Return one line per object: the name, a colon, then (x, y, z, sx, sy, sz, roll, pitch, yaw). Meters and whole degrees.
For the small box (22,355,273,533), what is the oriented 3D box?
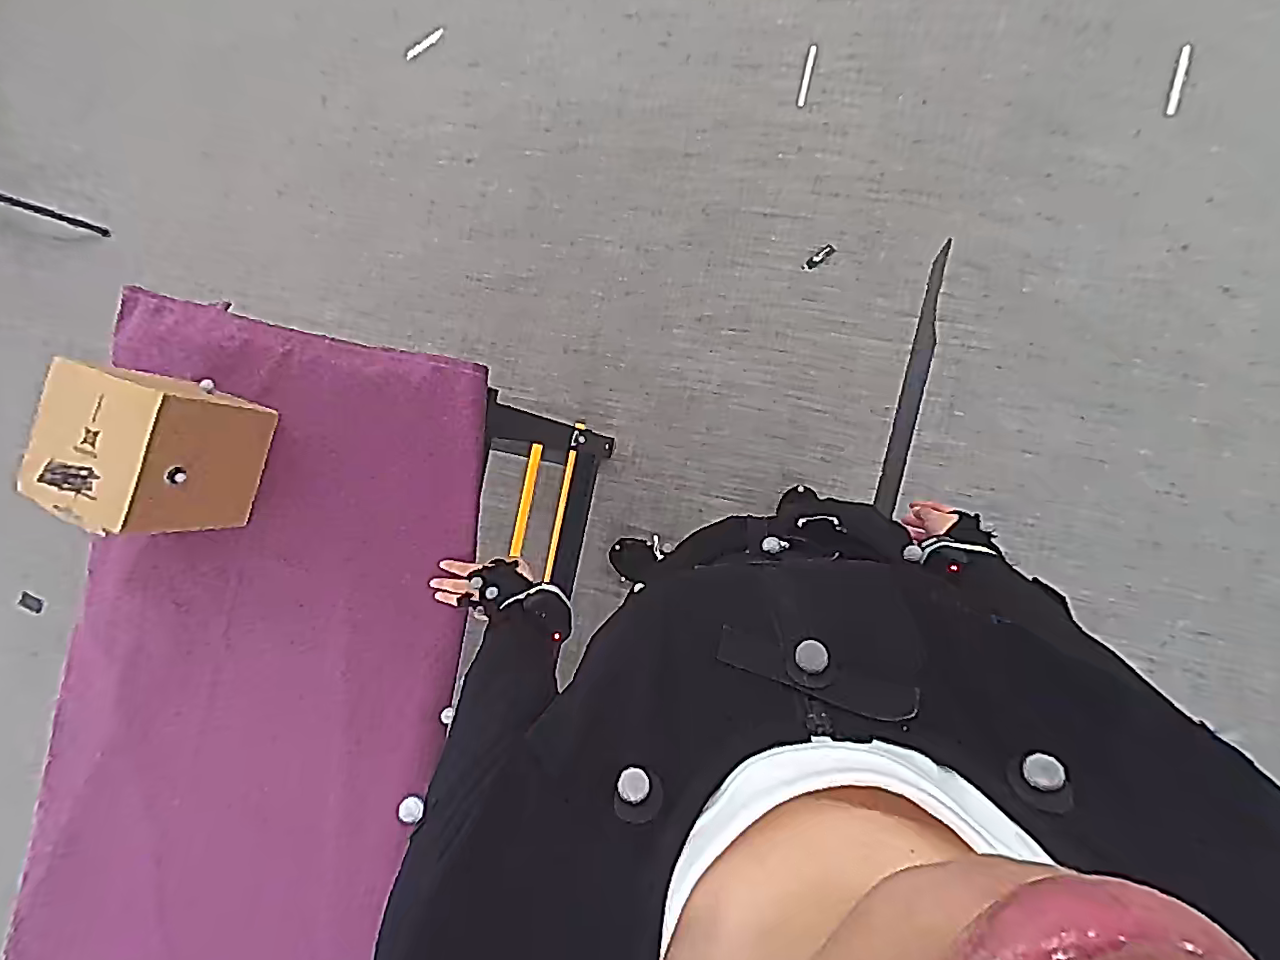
small box: (-0.638, -0.043, 0.720, 0.168, 0.176, 0.179, 18, 92, 9)
